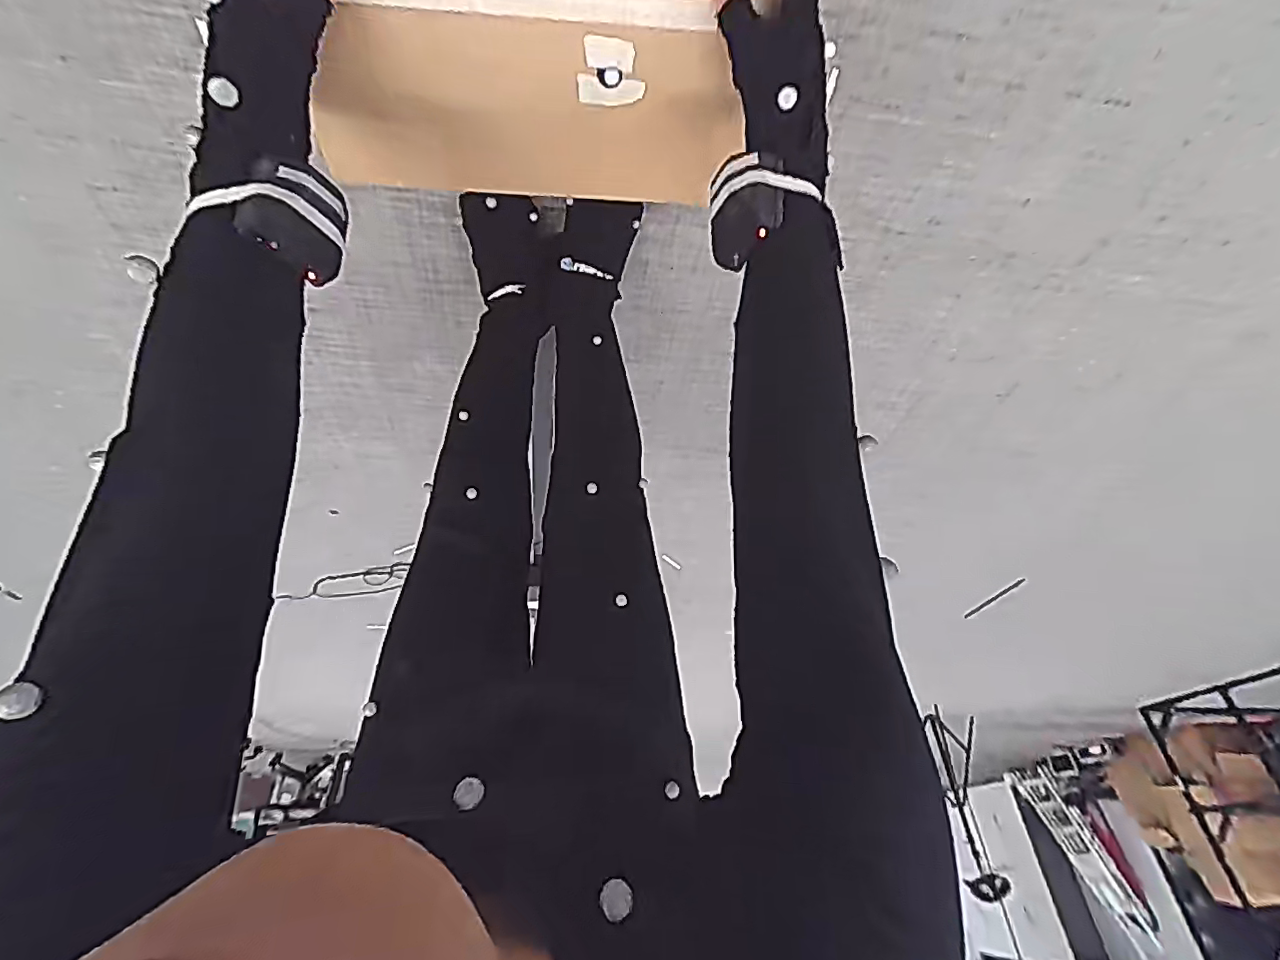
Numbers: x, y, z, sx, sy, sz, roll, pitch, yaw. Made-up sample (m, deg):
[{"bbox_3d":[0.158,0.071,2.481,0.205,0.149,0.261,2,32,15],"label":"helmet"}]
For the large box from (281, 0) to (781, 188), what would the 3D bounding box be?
[{"bbox_3d":[-0.092,-0.510,0.509,0.408,0.320,0.320,0,145,-5],"label":"large box"}]
